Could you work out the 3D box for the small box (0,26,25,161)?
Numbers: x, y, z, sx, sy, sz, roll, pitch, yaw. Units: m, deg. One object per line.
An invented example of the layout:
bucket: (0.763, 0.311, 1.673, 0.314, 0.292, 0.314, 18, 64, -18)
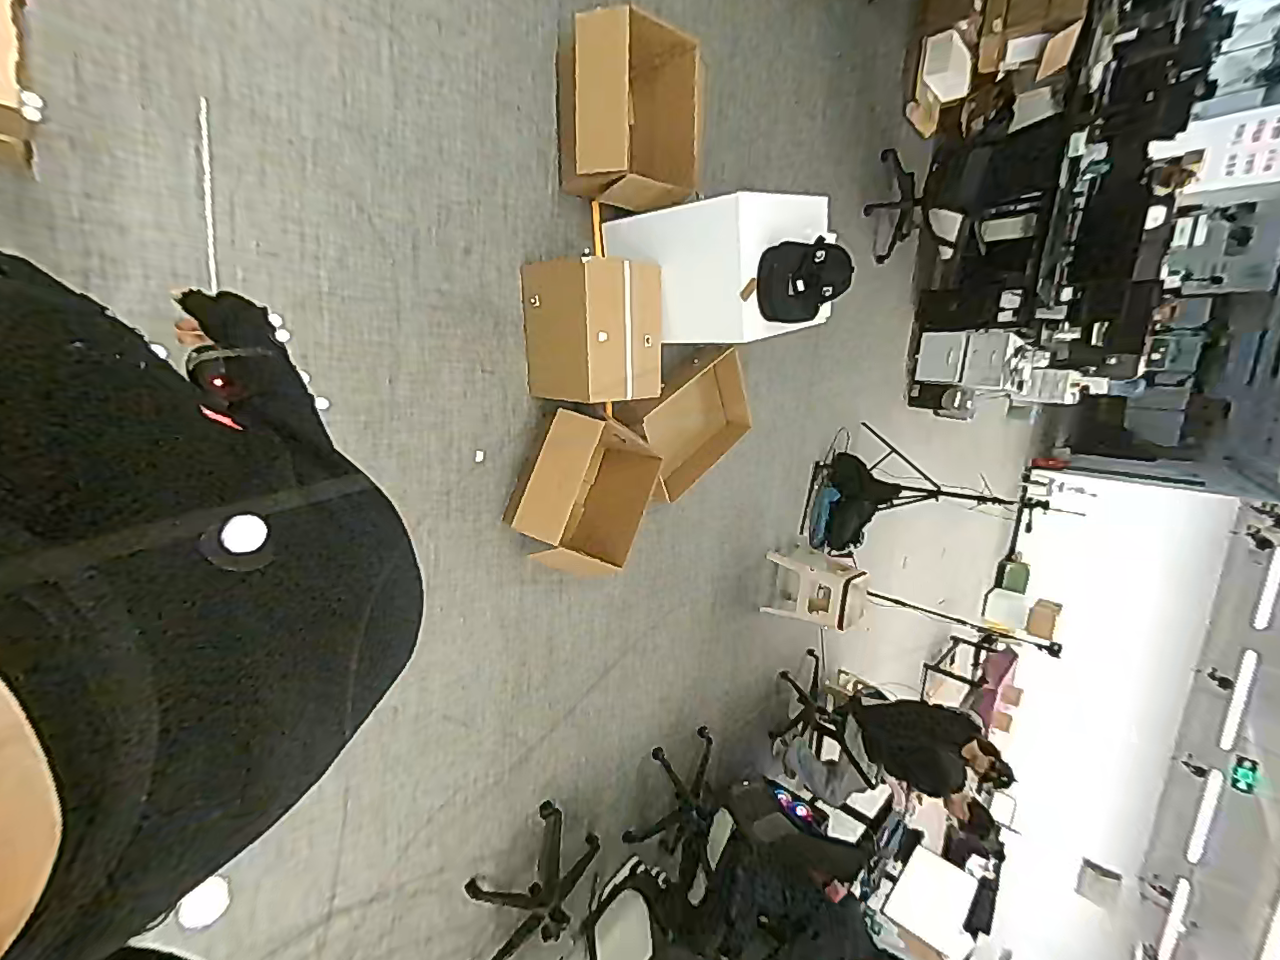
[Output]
small box: (-1.071, -0.615, 0.817, 0.179, 0.176, 0.168, 3, 98, -47)
